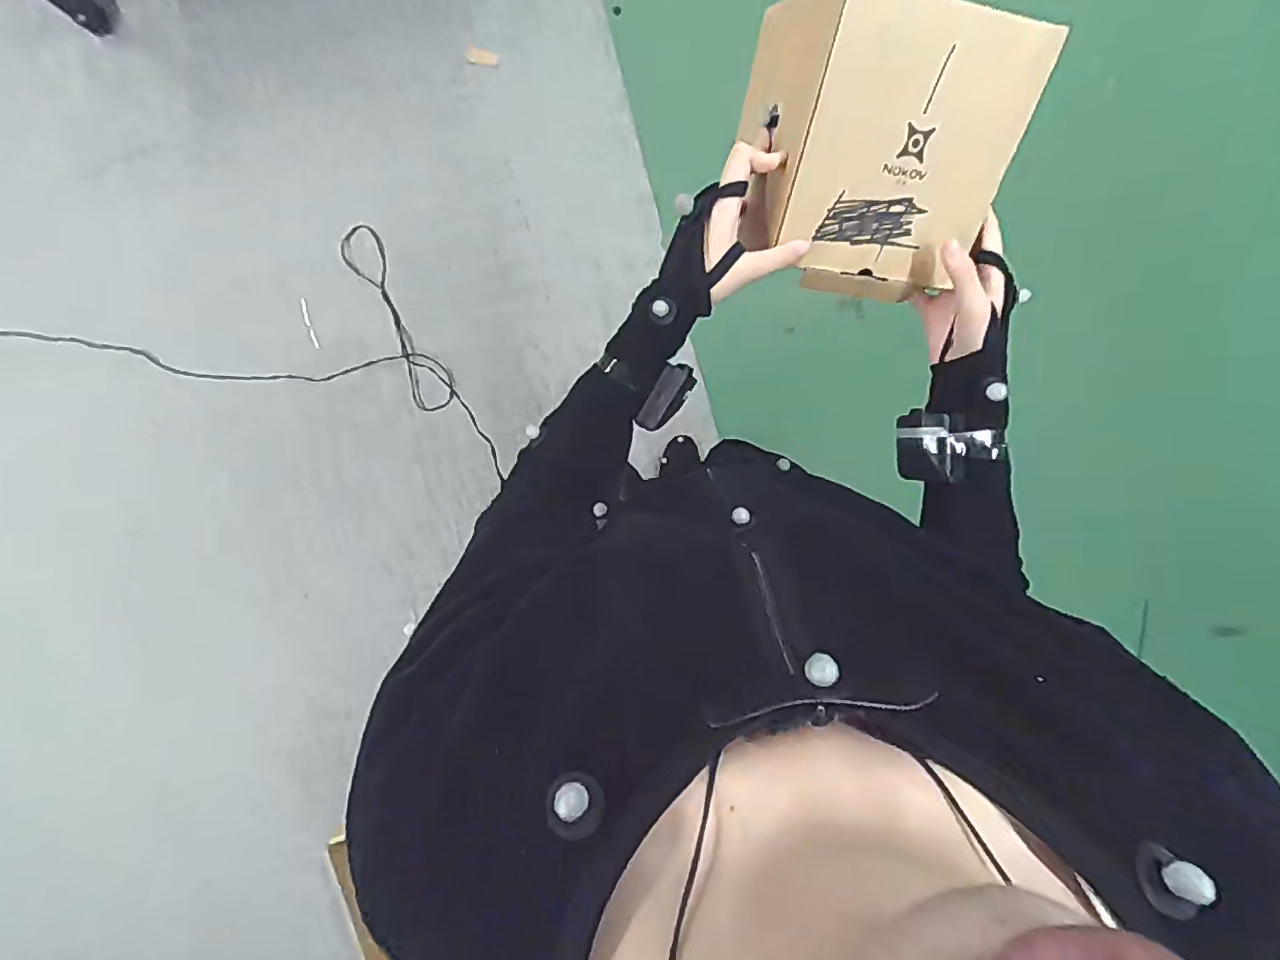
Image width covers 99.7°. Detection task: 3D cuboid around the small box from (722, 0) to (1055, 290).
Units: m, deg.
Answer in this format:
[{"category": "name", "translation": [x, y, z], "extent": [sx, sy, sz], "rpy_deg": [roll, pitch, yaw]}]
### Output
[{"category": "small box", "translation": [0.180, -0.282, 0.461], "extent": [0.168, 0.176, 0.179], "rpy_deg": [3, 123, -12]}]
